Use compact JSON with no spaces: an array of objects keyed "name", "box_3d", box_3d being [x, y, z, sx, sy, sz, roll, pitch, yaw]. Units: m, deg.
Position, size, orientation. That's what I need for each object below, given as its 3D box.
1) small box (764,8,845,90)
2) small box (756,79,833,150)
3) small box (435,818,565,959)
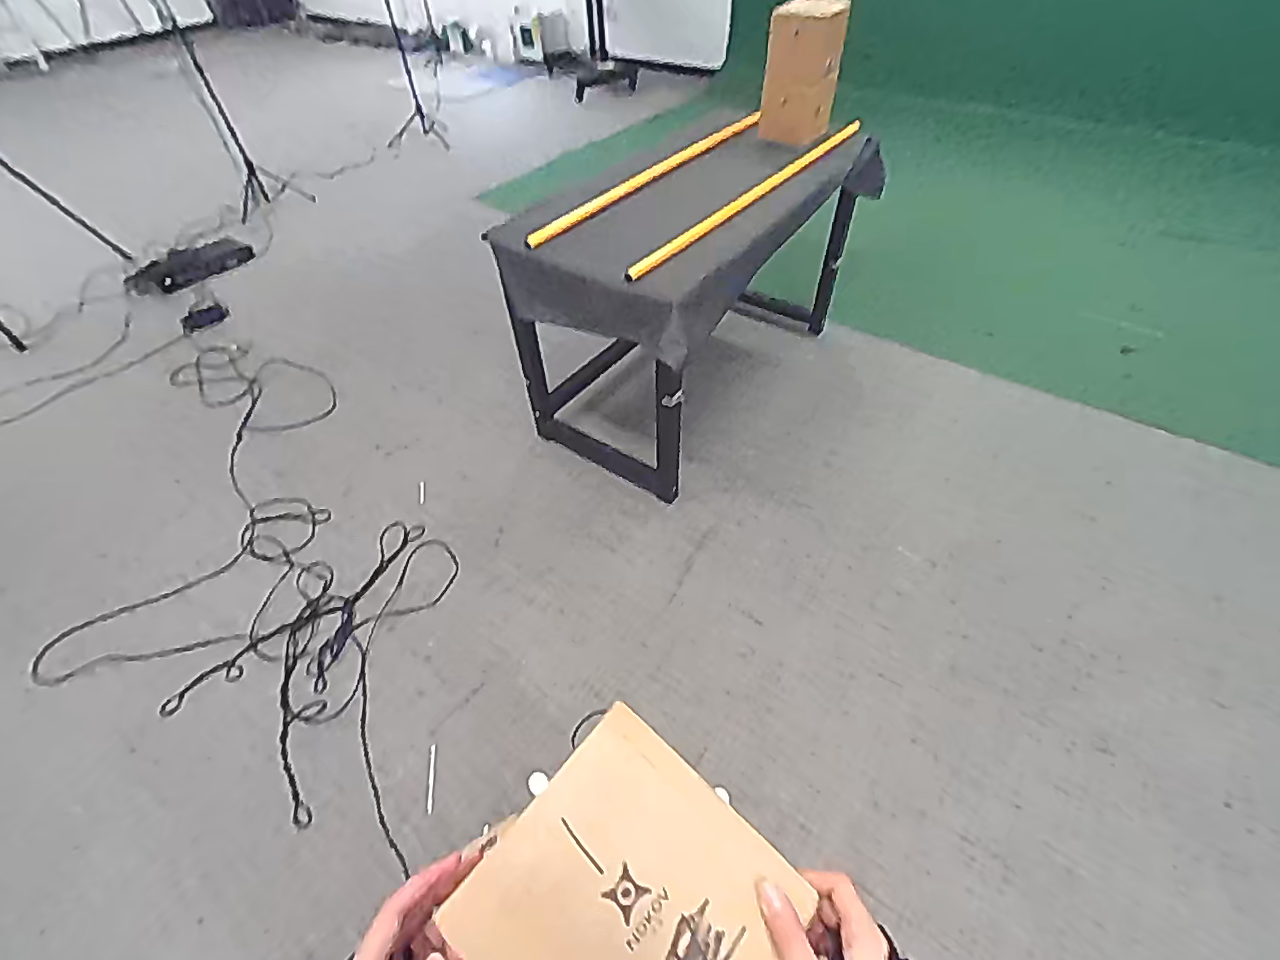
[{"name":"small box","box_3d":[0.495,-1.315,1.651,0.179,0.176,0.168,27,57,24]},{"name":"small box","box_3d":[0.500,-1.203,1.769,0.179,0.176,0.168,28,56,25]},{"name":"small box","box_3d":[-0.255,0.779,1.012,0.168,0.176,0.179,-26,52,-19]}]
